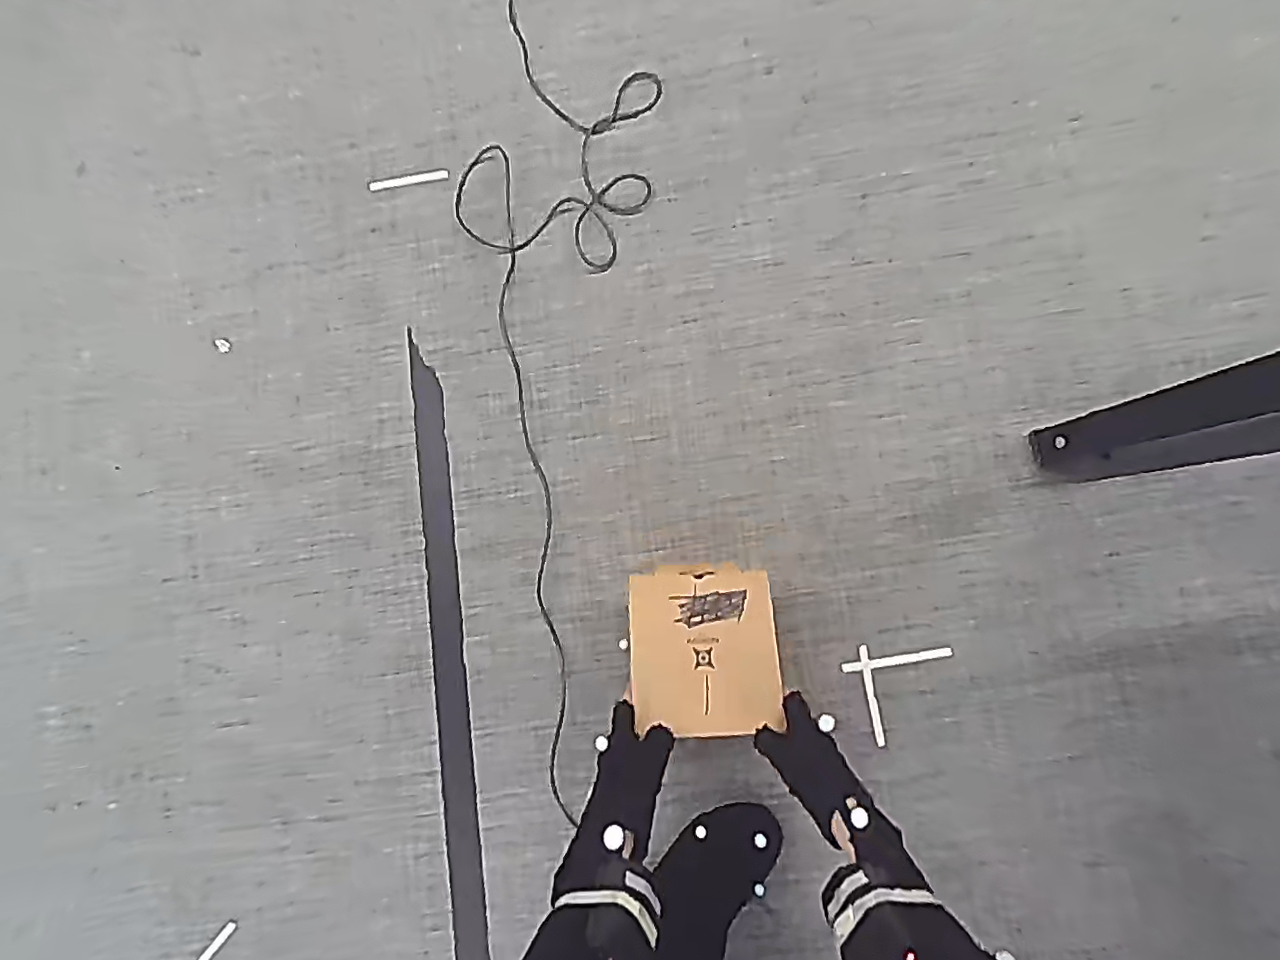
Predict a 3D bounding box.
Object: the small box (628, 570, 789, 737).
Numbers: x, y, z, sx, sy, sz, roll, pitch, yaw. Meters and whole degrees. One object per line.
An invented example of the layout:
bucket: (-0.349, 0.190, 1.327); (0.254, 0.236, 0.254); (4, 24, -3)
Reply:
small box: (0.070, 0.218, 0.665); (0.168, 0.176, 0.179); (0, 66, -2)
